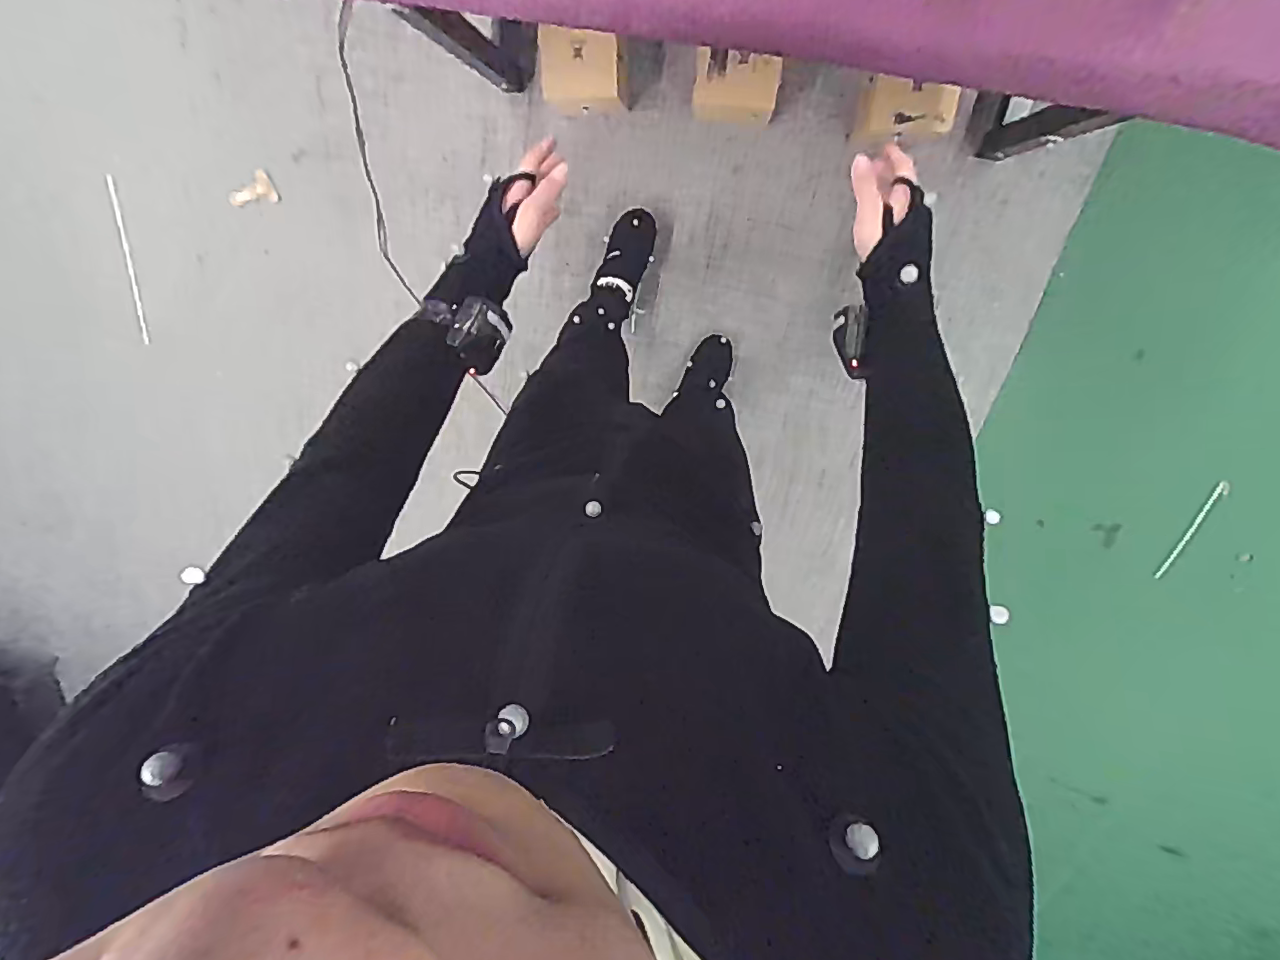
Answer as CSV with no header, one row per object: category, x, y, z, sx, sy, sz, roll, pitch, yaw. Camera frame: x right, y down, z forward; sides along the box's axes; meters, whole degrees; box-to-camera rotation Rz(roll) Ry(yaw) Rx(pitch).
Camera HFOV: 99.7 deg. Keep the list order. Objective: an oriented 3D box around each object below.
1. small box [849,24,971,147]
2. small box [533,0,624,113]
small box,0.556,-0.822,1.142,0.168,0.176,0.179,5,113,5
small box,-0.127,-0.922,1.188,0.168,0.176,0.179,3,113,6
